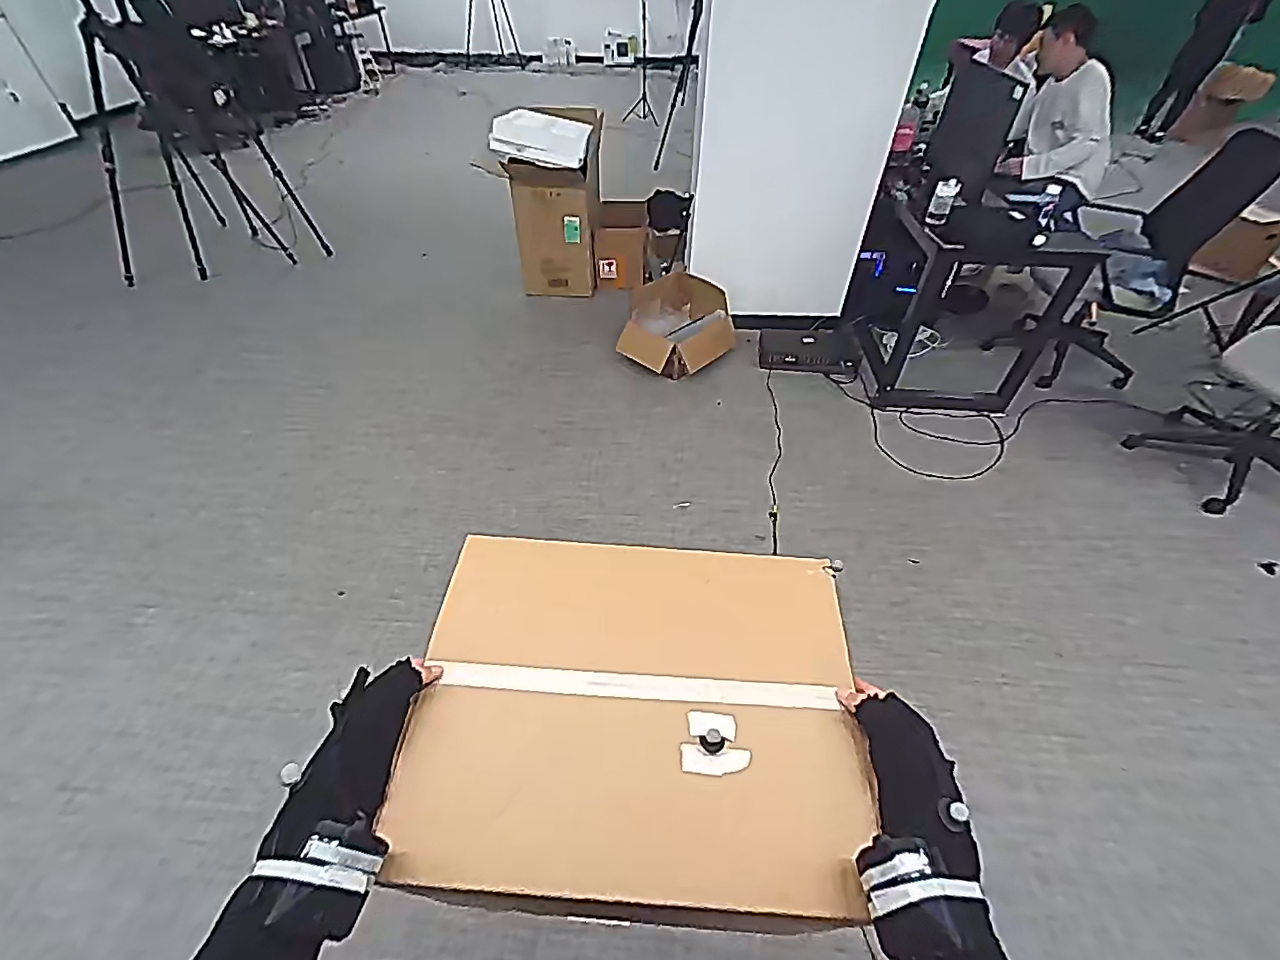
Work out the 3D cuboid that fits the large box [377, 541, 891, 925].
[{"bbox_3d":[-0.005,0.293,0.618,0.408,0.320,0.320,4,49,1],"label":"large box"}]
